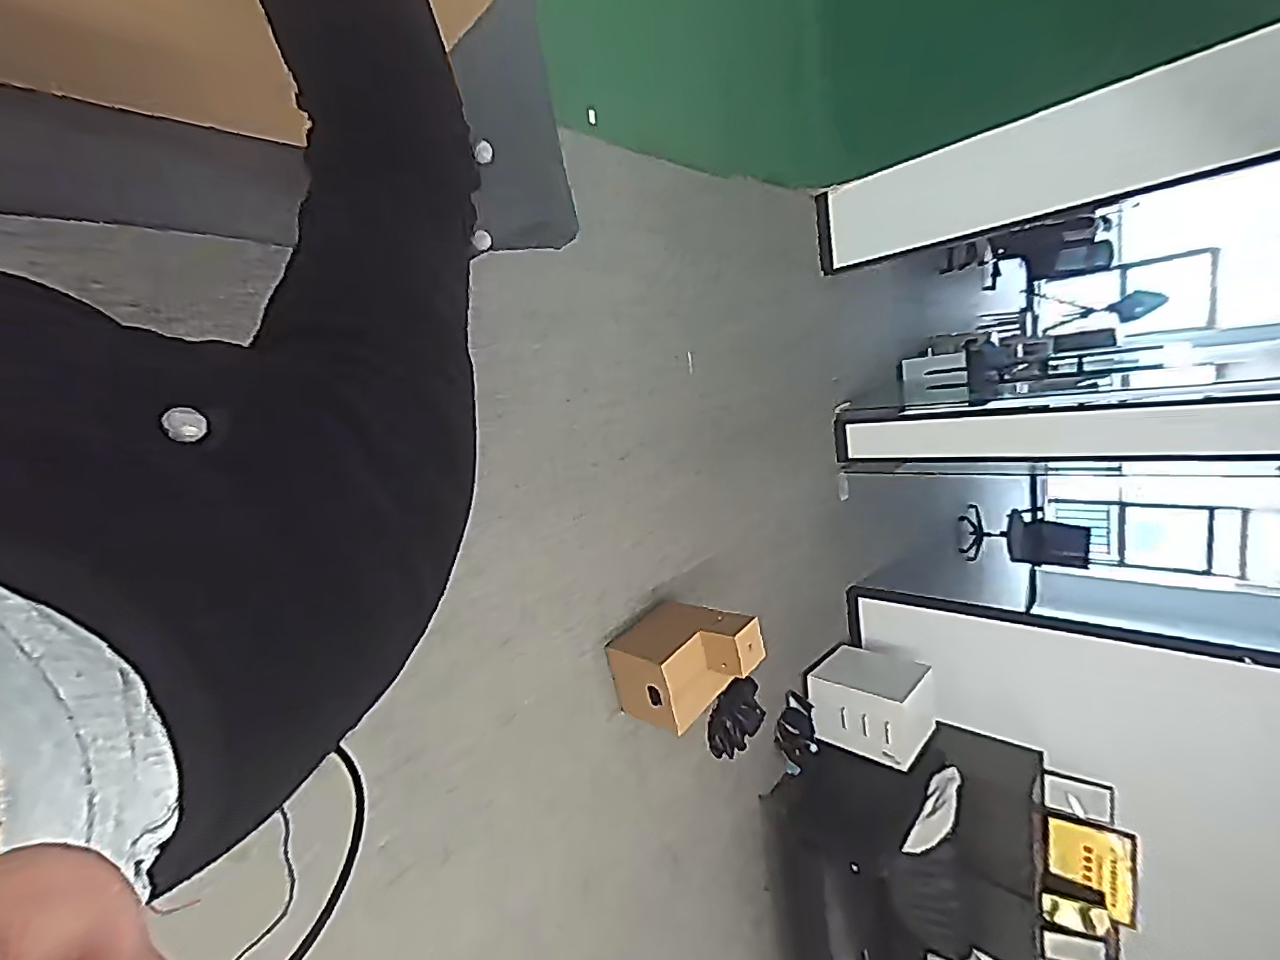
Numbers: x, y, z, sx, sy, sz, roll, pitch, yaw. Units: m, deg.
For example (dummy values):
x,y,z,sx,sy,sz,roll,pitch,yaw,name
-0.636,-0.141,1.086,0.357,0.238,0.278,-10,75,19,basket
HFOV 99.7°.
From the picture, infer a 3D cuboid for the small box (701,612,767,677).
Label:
x,y,z,sx,sy,sz,roll,pitch,yaw,name
0.365,0.635,2.108,0.168,0.176,0.179,-25,104,-44,small box
